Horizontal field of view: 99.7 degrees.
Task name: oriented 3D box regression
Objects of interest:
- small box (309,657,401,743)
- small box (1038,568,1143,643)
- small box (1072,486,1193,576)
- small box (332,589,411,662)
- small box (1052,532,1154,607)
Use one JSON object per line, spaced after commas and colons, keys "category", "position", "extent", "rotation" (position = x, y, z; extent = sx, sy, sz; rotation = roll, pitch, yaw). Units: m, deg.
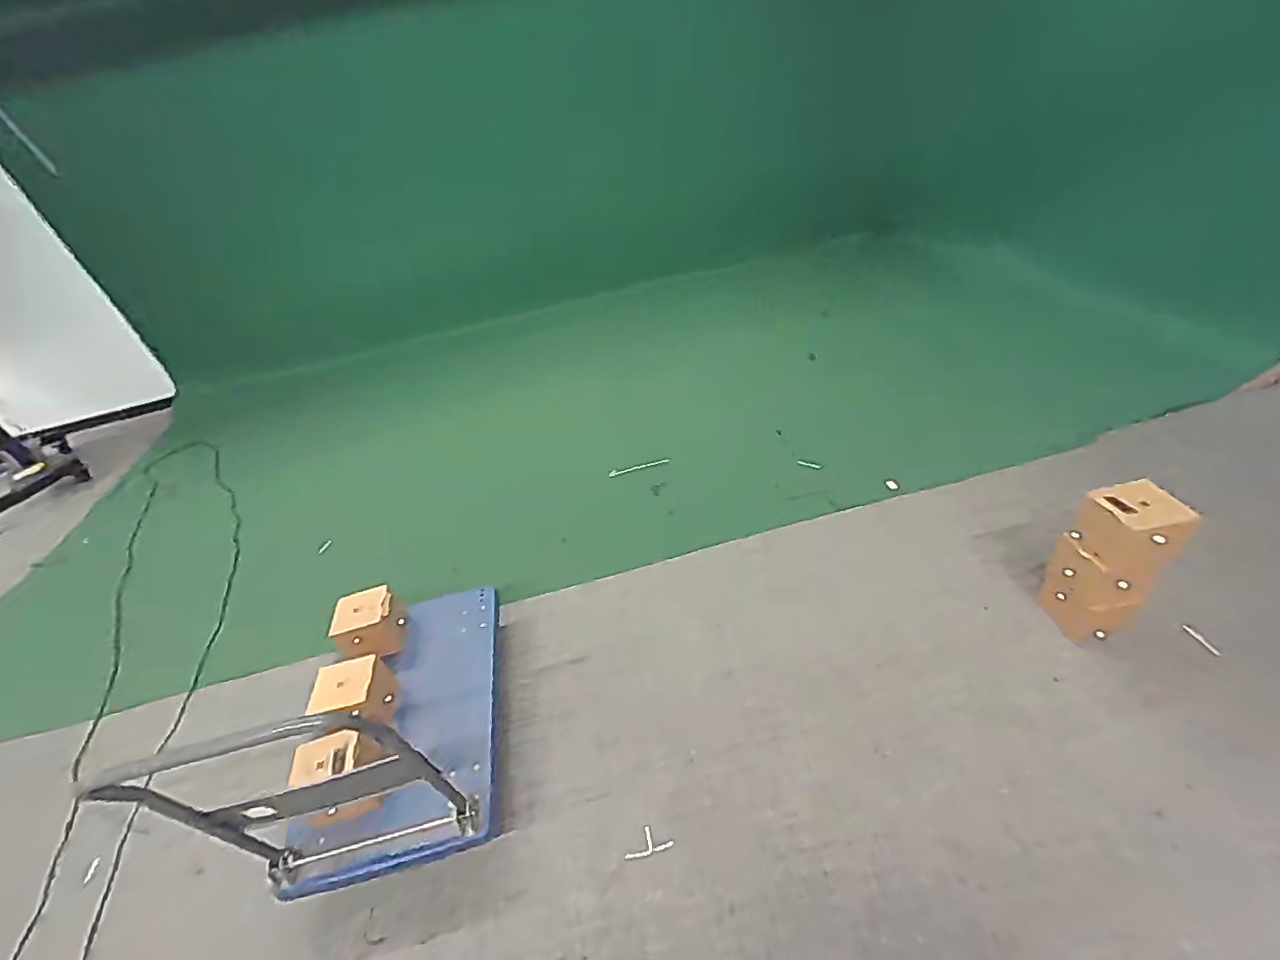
{"category": "small box", "position": [-0.874, 0.685, 1.675], "extent": [0.179, 0.176, 0.168], "rotation": [-14, 38, -3]}
{"category": "small box", "position": [1.404, 0.383, 1.702], "extent": [0.168, 0.176, 0.179], "rotation": [-12, 39, 2]}
{"category": "small box", "position": [1.353, 0.146, 1.506], "extent": [0.179, 0.176, 0.168], "rotation": [-13, 39, 0]}
{"category": "small box", "position": [-0.933, 0.517, 1.891], "extent": [0.179, 0.176, 0.168], "rotation": [-15, 40, -3]}
{"category": "small box", "position": [1.370, 0.255, 1.605], "extent": [0.179, 0.176, 0.168], "rotation": [-13, 38, 2]}
